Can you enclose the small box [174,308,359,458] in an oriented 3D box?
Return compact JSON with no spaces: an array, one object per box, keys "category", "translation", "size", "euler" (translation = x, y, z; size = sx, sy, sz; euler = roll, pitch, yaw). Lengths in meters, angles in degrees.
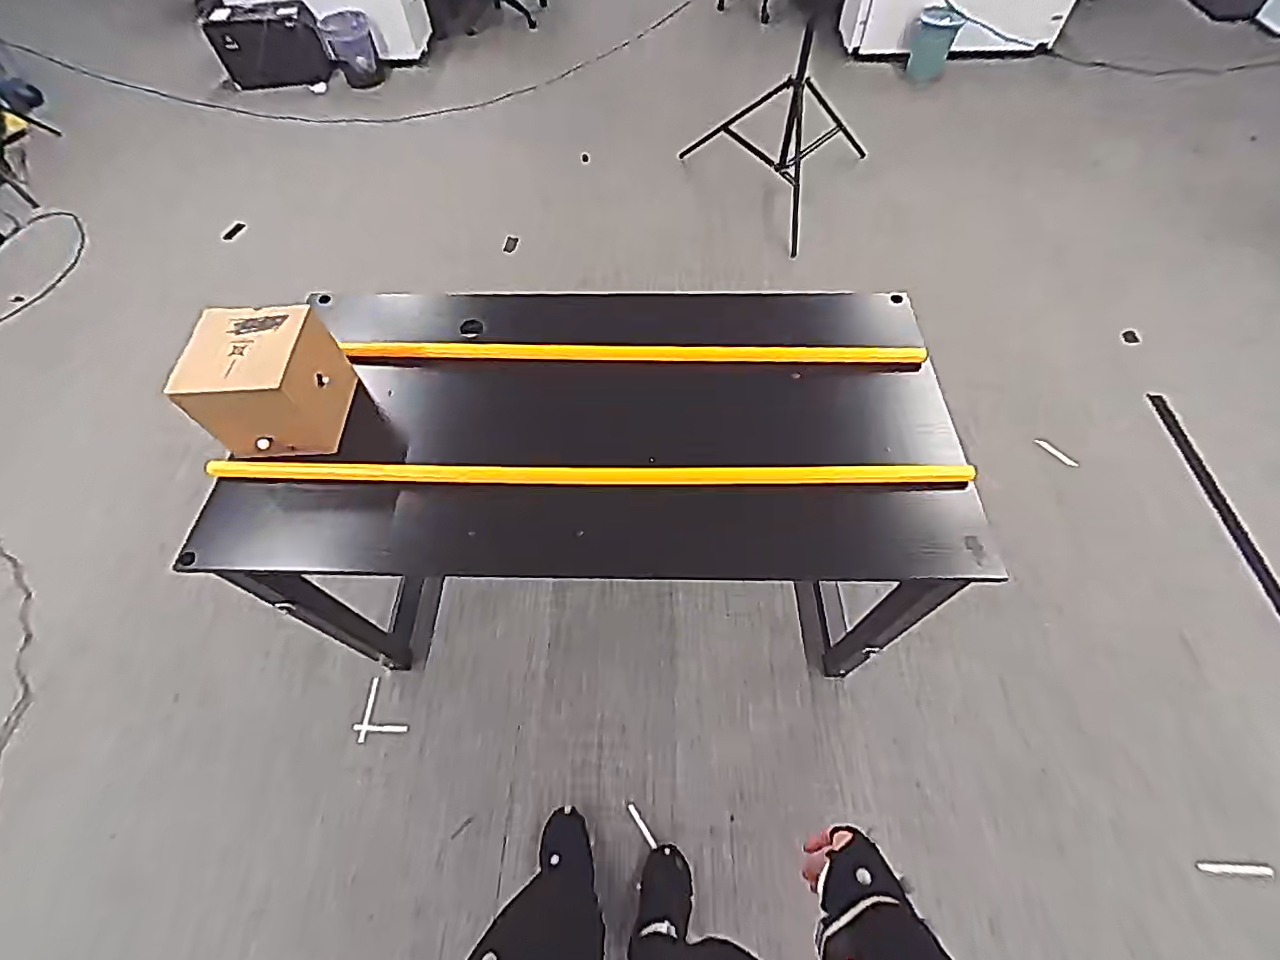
[{"category":"small box","translation":[-0.588,-0.155,0.882],"size":[0.168,0.176,0.179],"euler":[-3,59,-1]}]
